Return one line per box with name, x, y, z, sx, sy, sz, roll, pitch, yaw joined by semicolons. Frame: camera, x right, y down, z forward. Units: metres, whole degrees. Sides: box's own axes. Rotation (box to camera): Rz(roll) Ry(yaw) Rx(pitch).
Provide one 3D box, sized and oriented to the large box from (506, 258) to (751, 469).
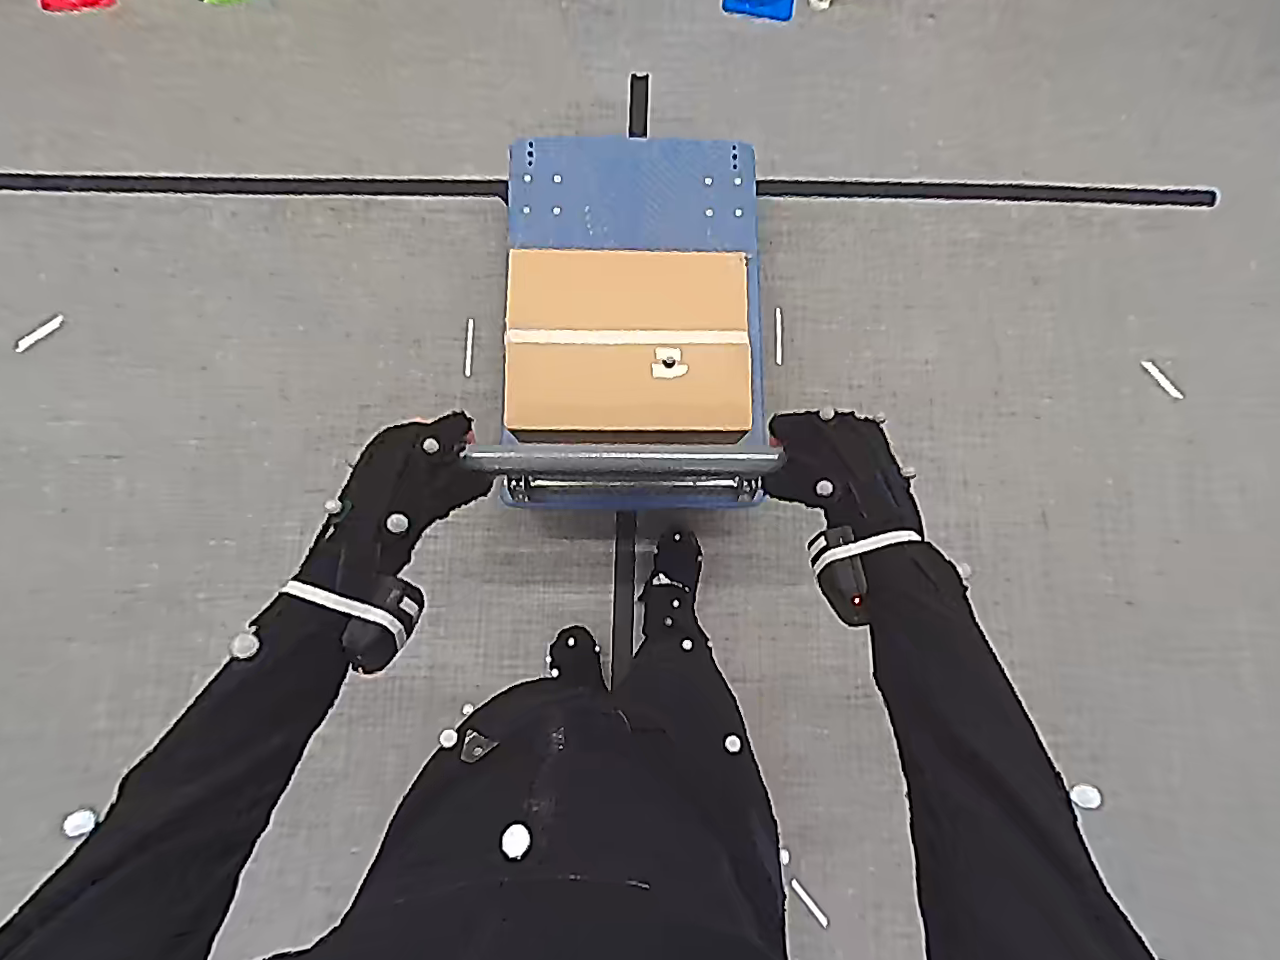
large box;-0.027;-0.199;1.039;0.408;0.320;0.320;0;82;-3
